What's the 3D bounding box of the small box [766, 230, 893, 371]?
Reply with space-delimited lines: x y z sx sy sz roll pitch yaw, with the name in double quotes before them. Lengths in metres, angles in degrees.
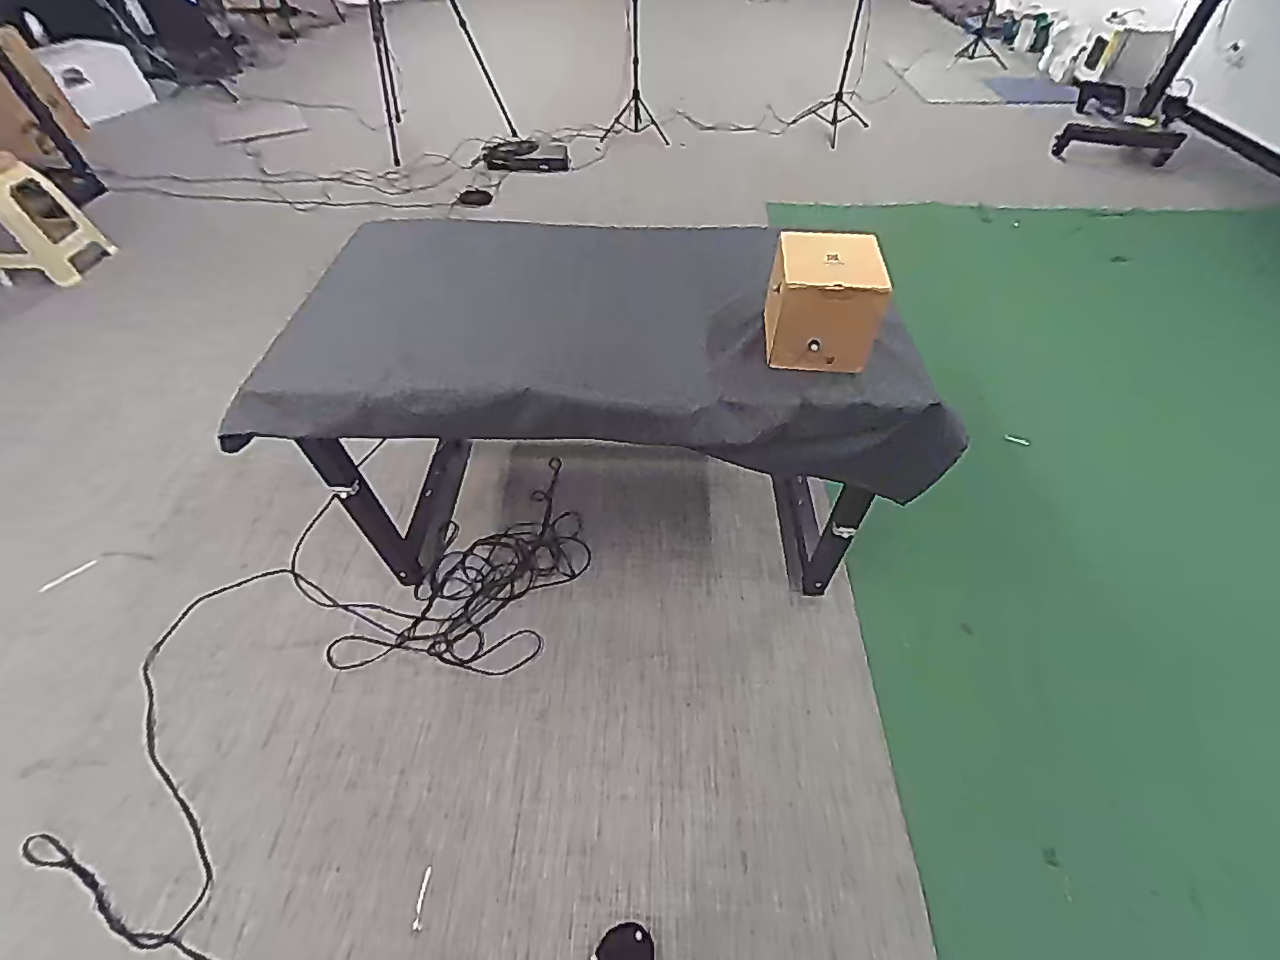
"small box" 0.321 -0.317 0.958 0.168 0.176 0.179 4 51 4
